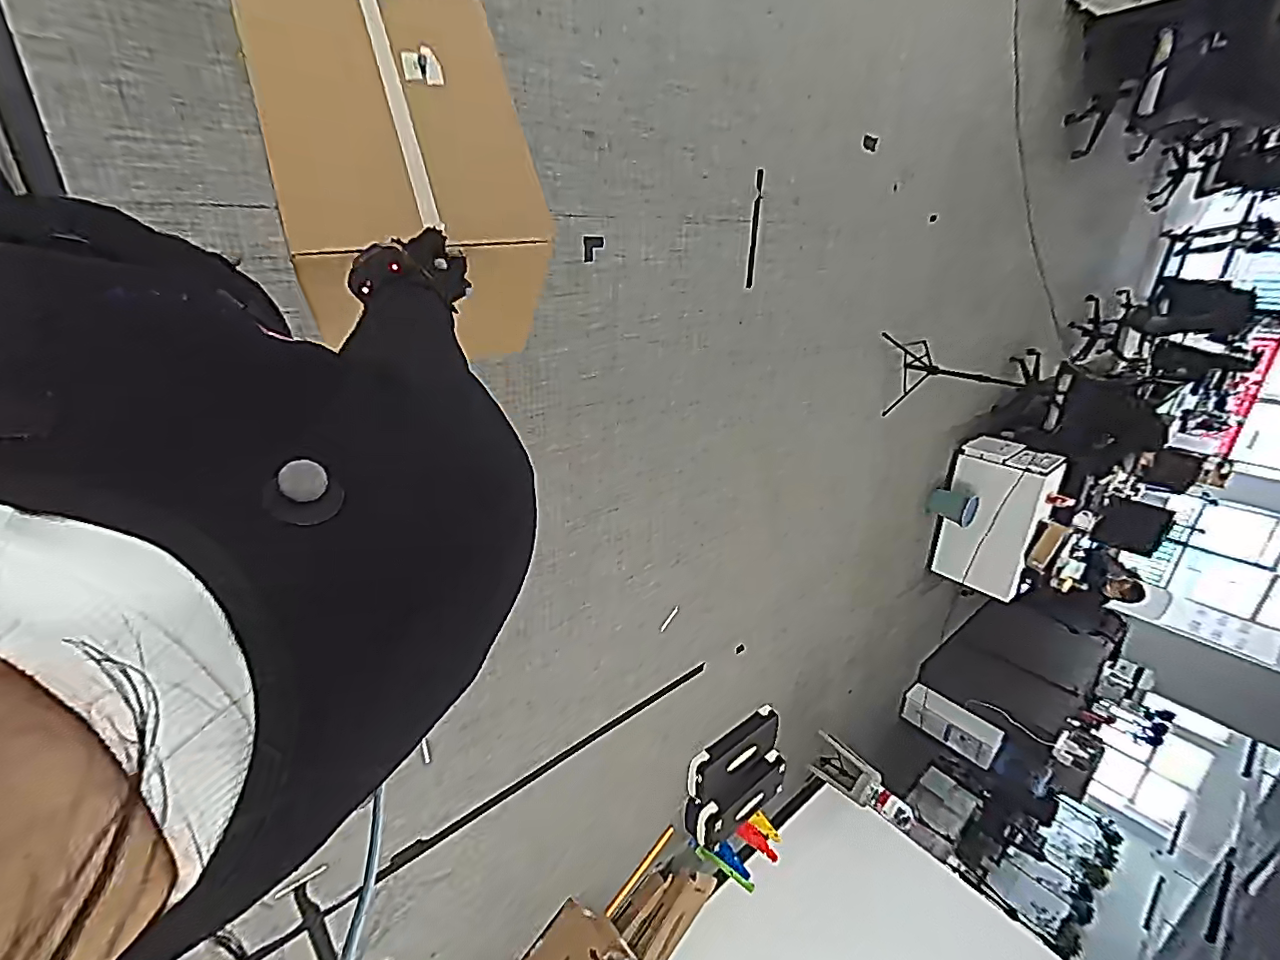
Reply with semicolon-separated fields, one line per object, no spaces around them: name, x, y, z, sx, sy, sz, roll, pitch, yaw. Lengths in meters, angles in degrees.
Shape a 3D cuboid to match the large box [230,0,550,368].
large box;-0.368;-0.439;0.841;0.320;0.320;0.408;-14;81;-24
